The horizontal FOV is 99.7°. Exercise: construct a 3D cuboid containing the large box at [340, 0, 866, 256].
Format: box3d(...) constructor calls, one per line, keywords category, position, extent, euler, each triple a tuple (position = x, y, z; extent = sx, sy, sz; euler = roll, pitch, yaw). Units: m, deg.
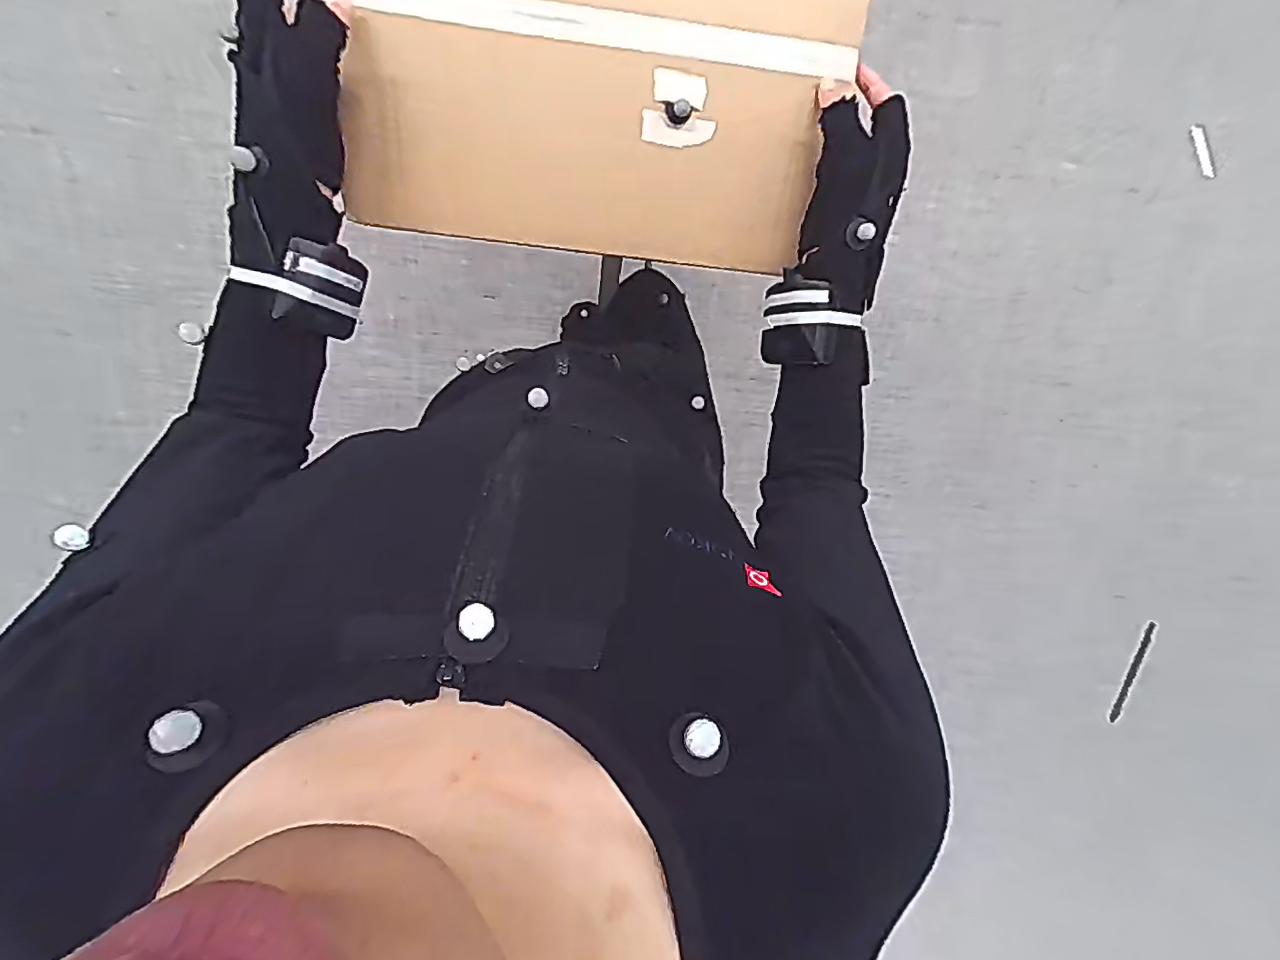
box3d(category="large box", position=(-0.035, -0.419, 0.548), extent=(0.408, 0.320, 0.320), euler=(4, 117, -6))
